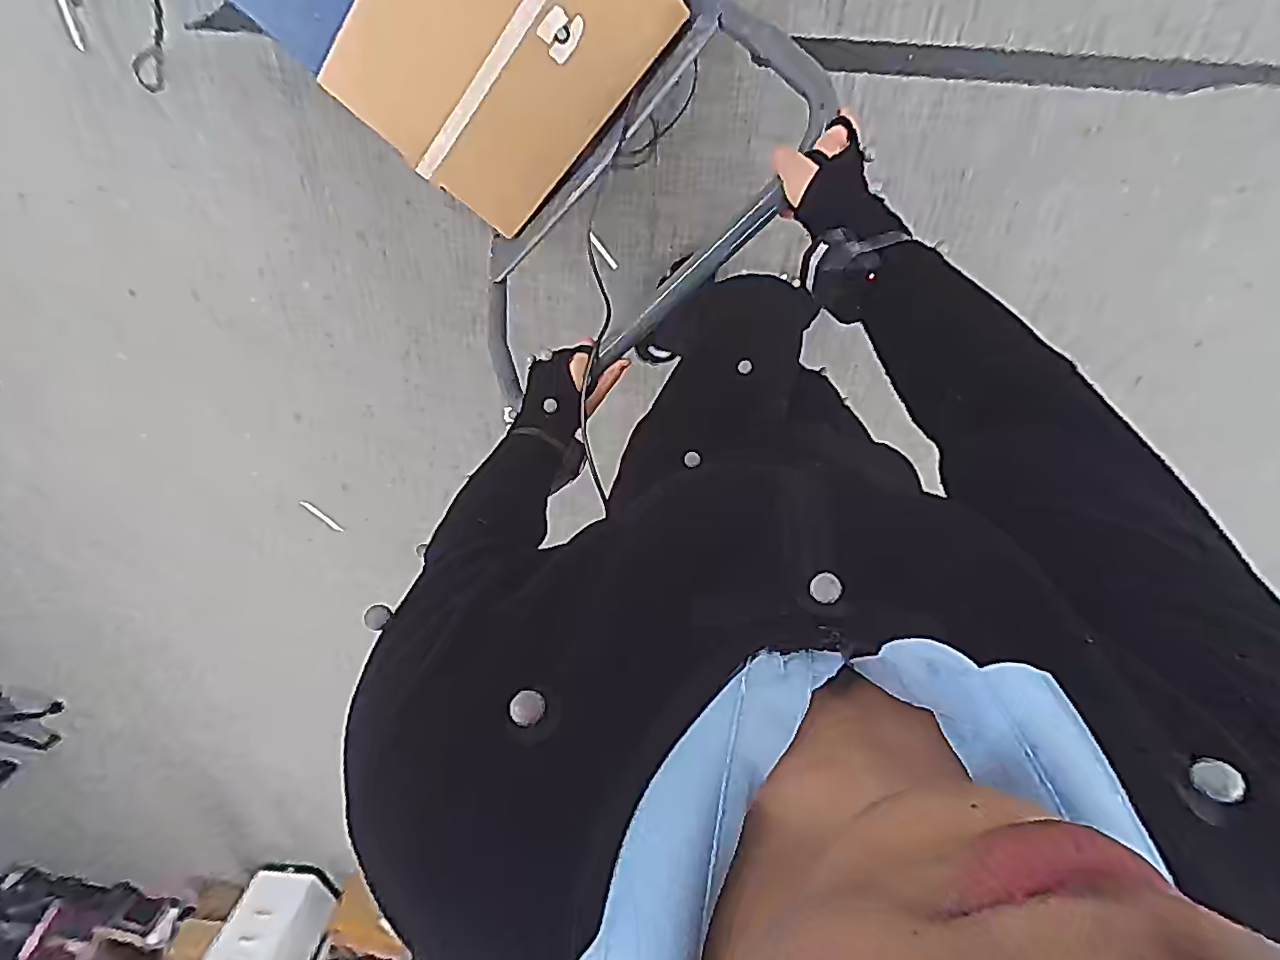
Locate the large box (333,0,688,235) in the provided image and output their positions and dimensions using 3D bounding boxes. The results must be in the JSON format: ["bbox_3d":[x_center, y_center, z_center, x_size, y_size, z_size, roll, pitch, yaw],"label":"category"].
[{"bbox_3d":[-0.195,-0.684,0.830,0.320,0.320,0.408,31,122,-34],"label":"large box"}]
